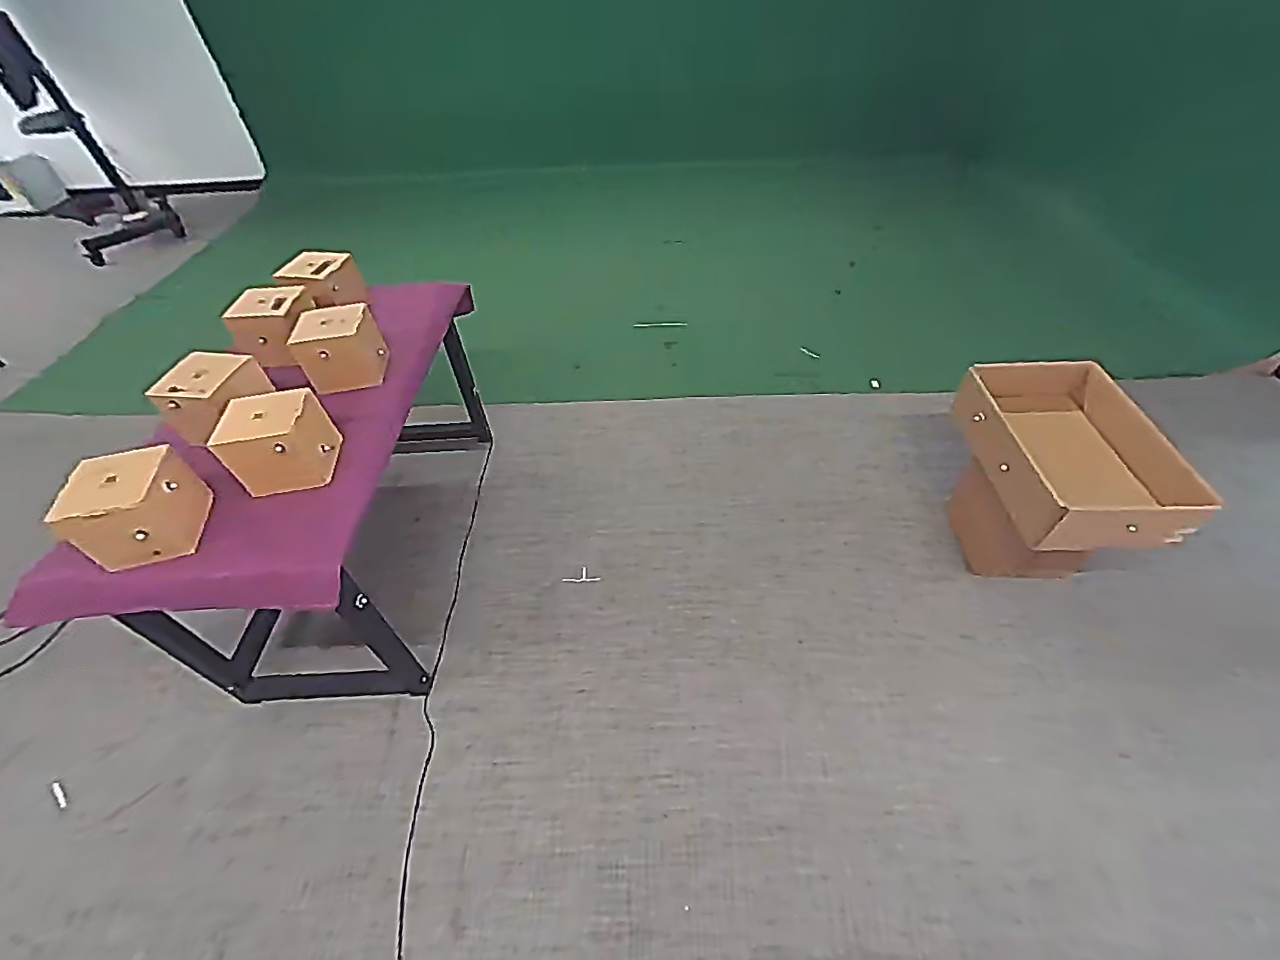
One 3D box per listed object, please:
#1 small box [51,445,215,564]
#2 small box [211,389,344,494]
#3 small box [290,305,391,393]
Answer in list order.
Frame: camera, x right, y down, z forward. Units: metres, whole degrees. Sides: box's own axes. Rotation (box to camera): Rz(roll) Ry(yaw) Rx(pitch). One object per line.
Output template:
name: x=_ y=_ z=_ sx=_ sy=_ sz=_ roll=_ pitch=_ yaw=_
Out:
small box: x=-1.040 y=0.059 z=1.133 sx=0.168 sy=0.176 sz=0.179 roll=-12 pitch=47 yaw=-9
small box: x=-0.827 y=-0.085 z=1.254 sx=0.179 sy=0.176 sz=0.168 roll=-10 pitch=47 yaw=-5
small box: x=-0.825 y=-0.361 z=1.507 sx=0.179 sy=0.176 sz=0.168 roll=-9 pitch=48 yaw=-4
